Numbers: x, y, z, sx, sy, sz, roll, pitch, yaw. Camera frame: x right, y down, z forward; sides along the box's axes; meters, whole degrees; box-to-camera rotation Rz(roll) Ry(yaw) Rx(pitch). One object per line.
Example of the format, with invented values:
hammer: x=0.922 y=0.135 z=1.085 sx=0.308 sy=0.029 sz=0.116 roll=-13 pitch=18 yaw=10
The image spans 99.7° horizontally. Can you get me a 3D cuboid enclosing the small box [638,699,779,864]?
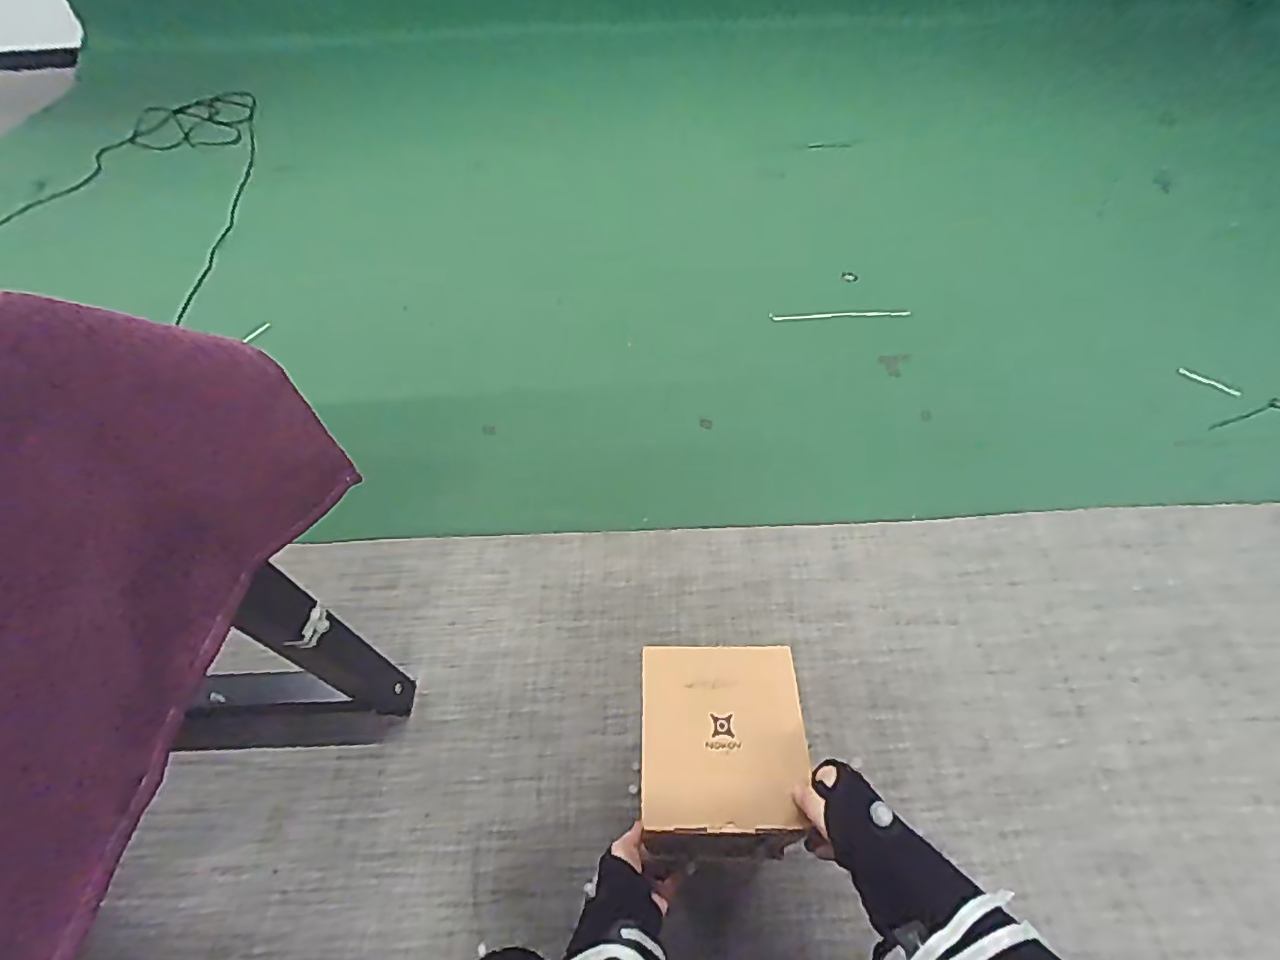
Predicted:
small box: x=0.086 y=0.412 z=0.734 sx=0.168 sy=0.176 sz=0.179 roll=0 pitch=53 yaw=2
